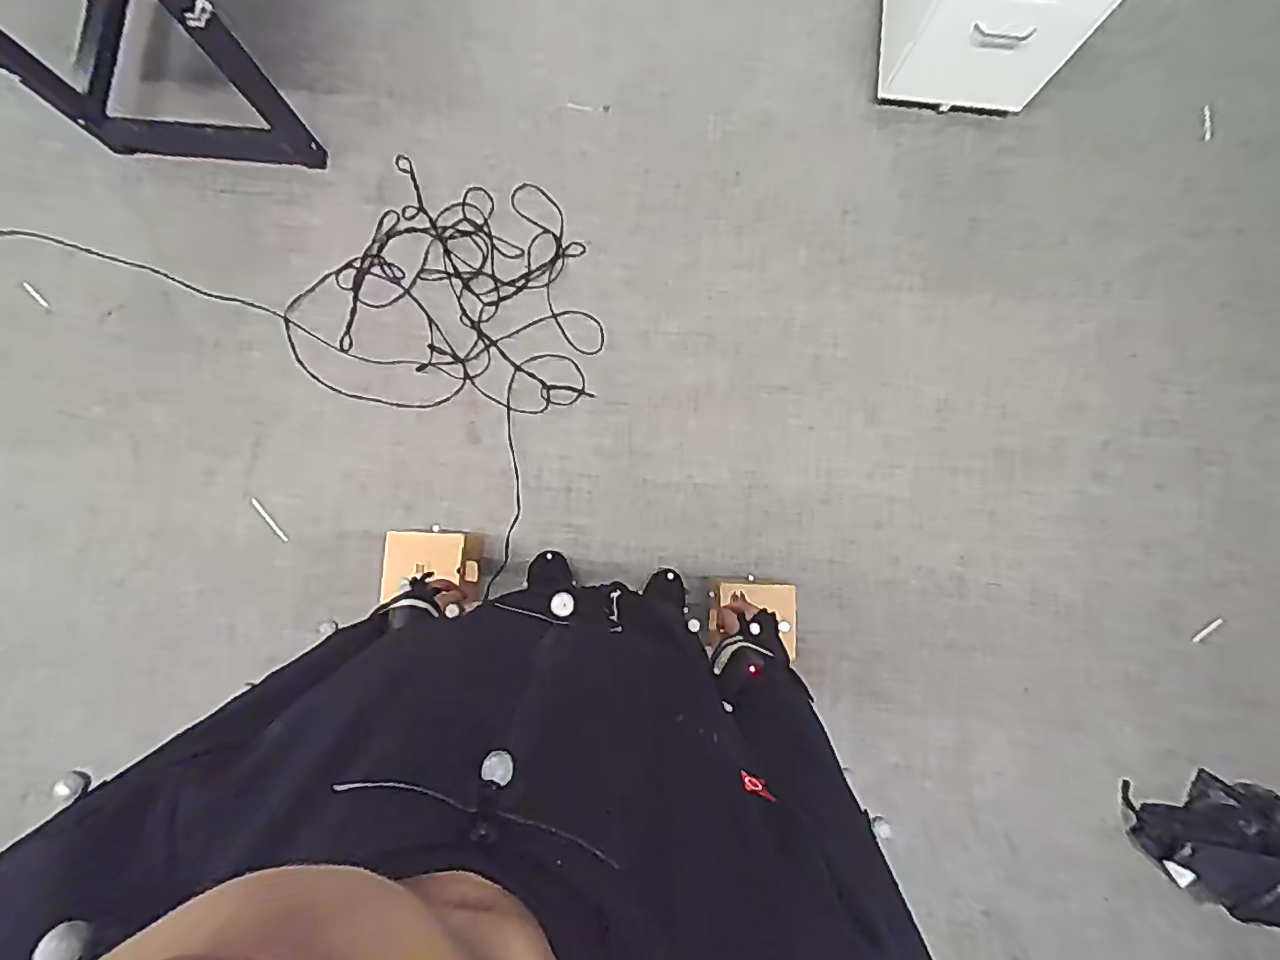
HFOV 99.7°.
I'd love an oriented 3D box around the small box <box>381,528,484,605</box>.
[{"bbox_3d":[-0.487,0.203,1.290,0.179,0.176,0.168,3,84,-2],"label":"small box"}]
